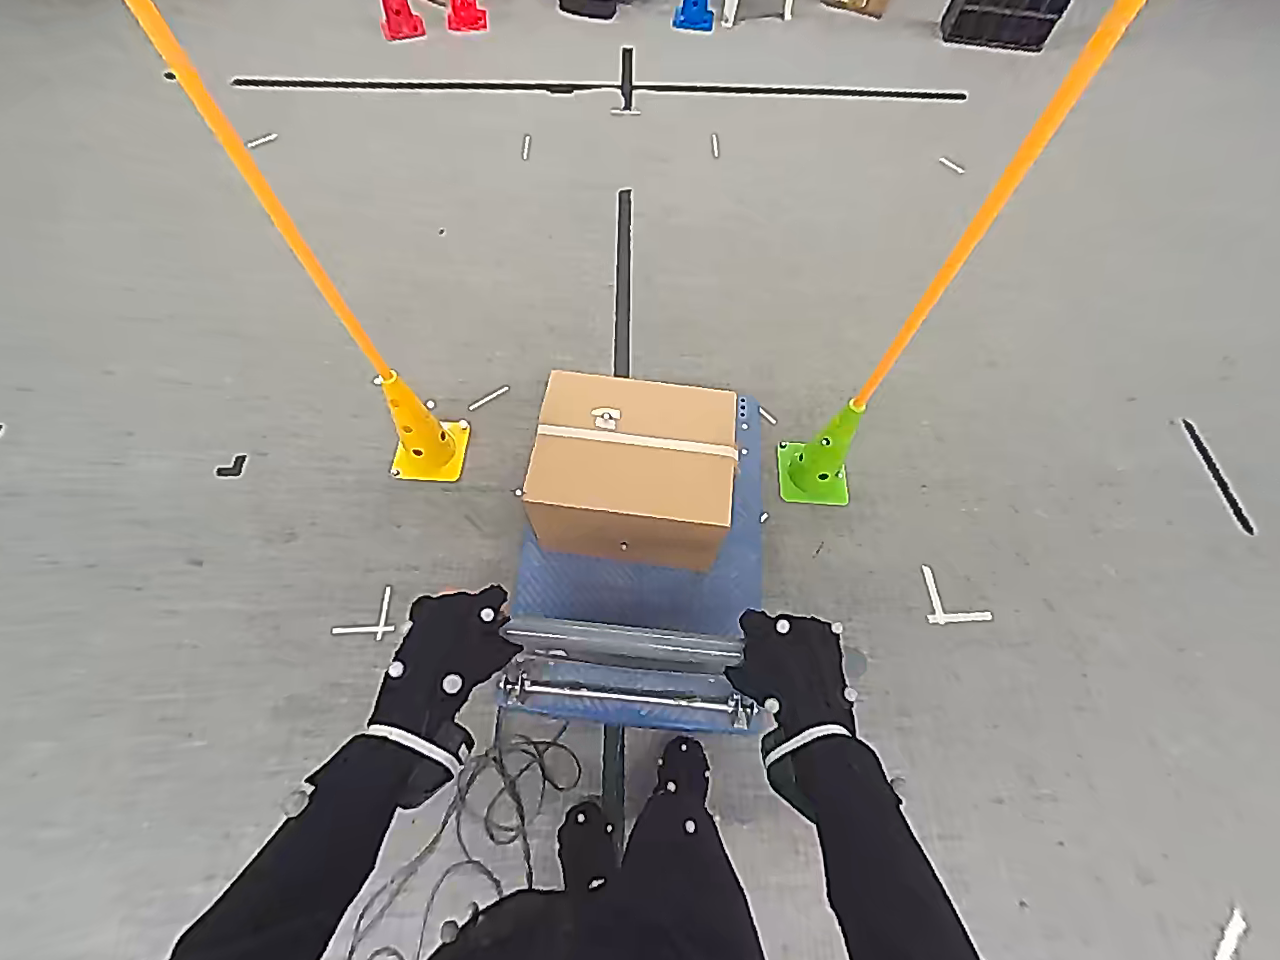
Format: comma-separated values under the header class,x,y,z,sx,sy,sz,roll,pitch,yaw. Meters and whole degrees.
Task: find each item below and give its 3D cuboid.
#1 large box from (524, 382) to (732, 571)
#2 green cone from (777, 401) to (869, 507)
class,x,y,z,sx,sy,sz,roll,pitch,yaw
large box,-0.014,0.005,1.243,0.408,0.320,0.320,7,64,2
green cone,0.522,-0.092,1.469,0.202,0.368,0.200,4,63,-1
